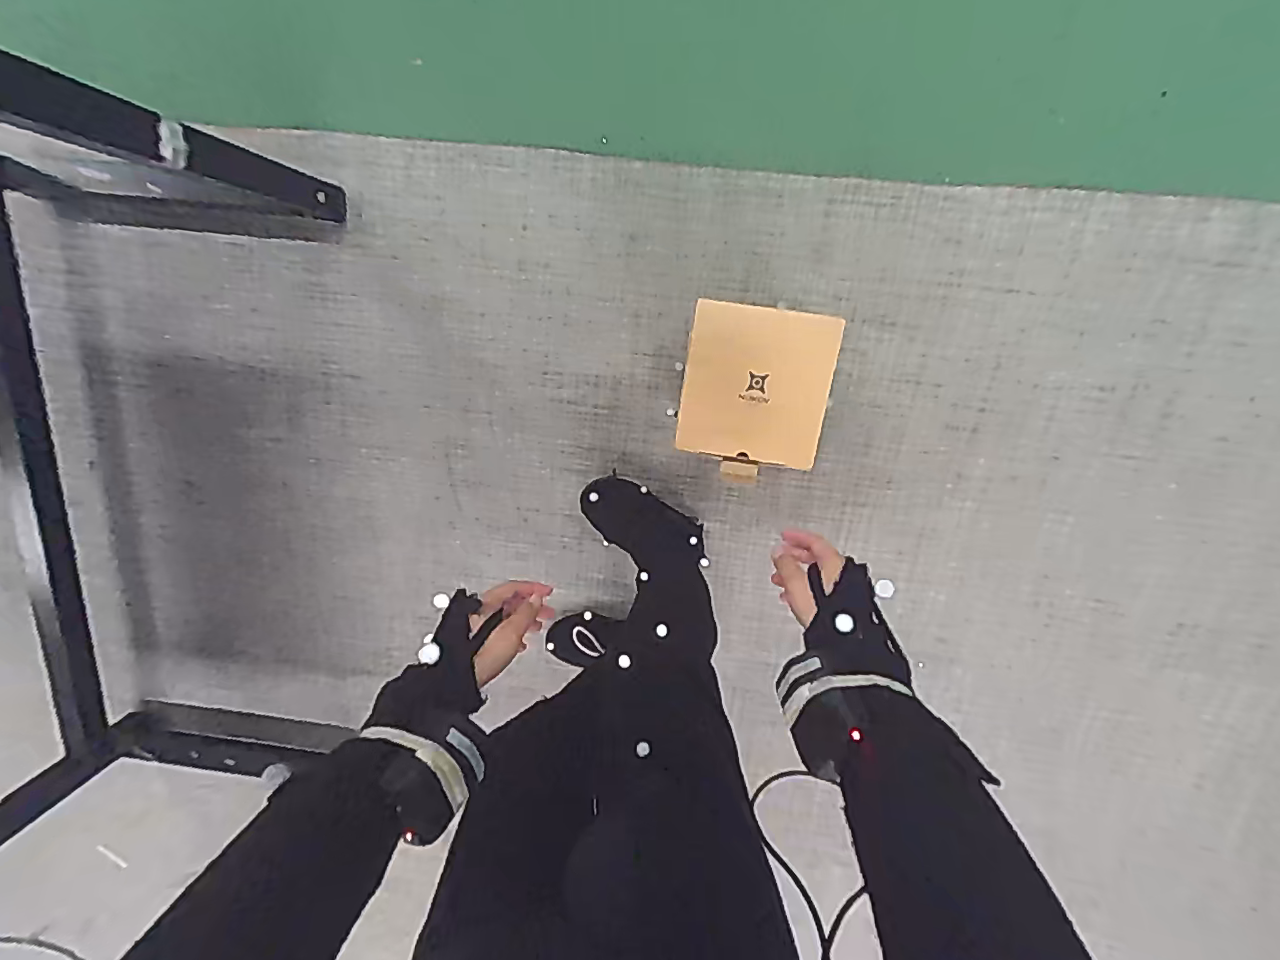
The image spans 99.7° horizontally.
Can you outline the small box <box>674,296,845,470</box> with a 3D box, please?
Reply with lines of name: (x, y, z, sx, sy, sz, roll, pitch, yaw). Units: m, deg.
small box: (0.137, -0.126, 0.684, 0.168, 0.176, 0.179, 9, 105, 3)
